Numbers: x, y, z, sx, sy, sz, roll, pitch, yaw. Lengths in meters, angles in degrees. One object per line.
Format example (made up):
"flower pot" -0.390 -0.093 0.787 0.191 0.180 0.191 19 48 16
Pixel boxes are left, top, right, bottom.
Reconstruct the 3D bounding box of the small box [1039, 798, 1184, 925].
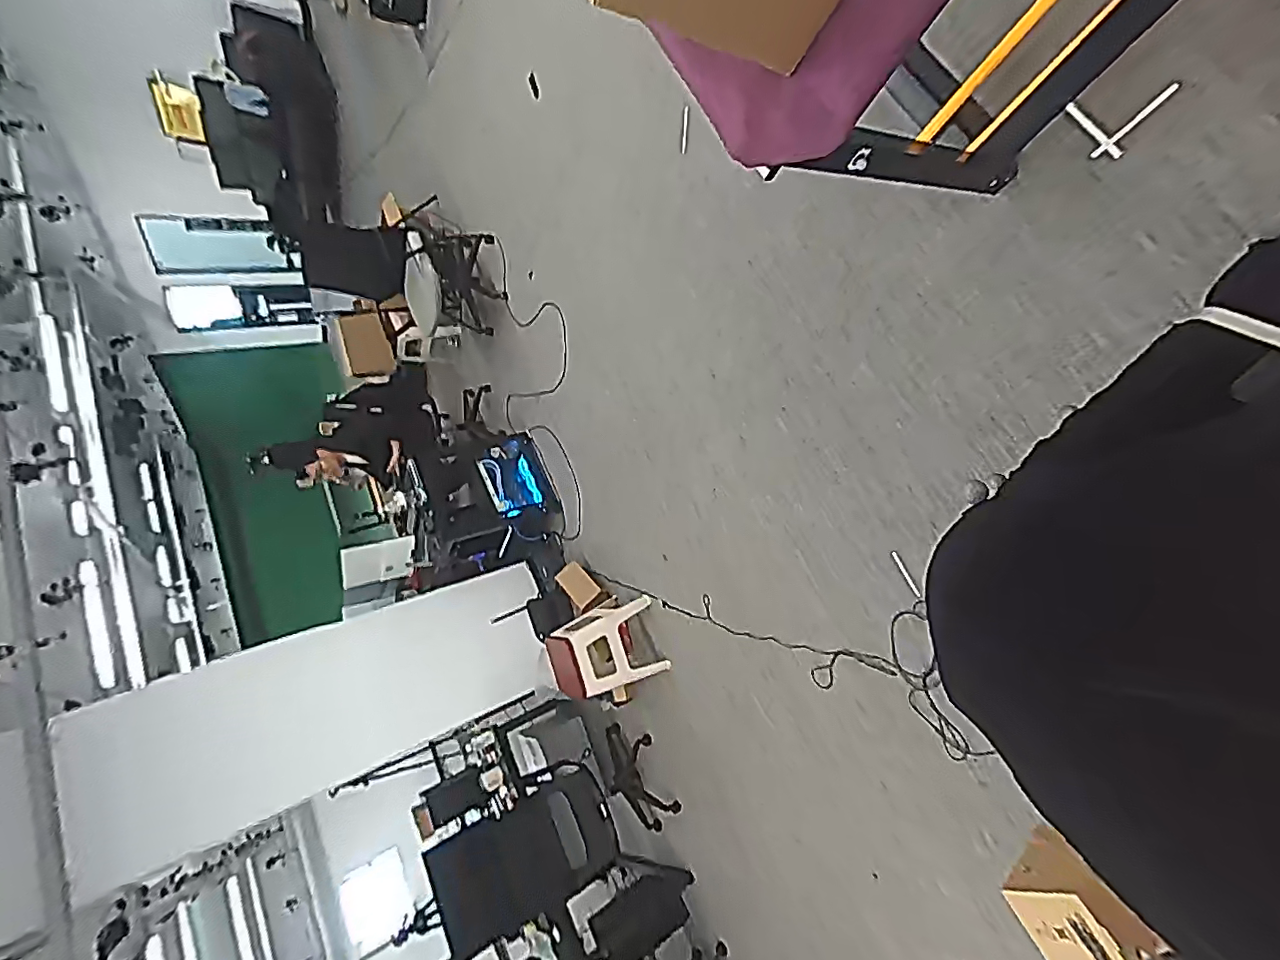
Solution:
"small box" 1.060 0.840 1.211 0.168 0.176 0.179 63 146 16
